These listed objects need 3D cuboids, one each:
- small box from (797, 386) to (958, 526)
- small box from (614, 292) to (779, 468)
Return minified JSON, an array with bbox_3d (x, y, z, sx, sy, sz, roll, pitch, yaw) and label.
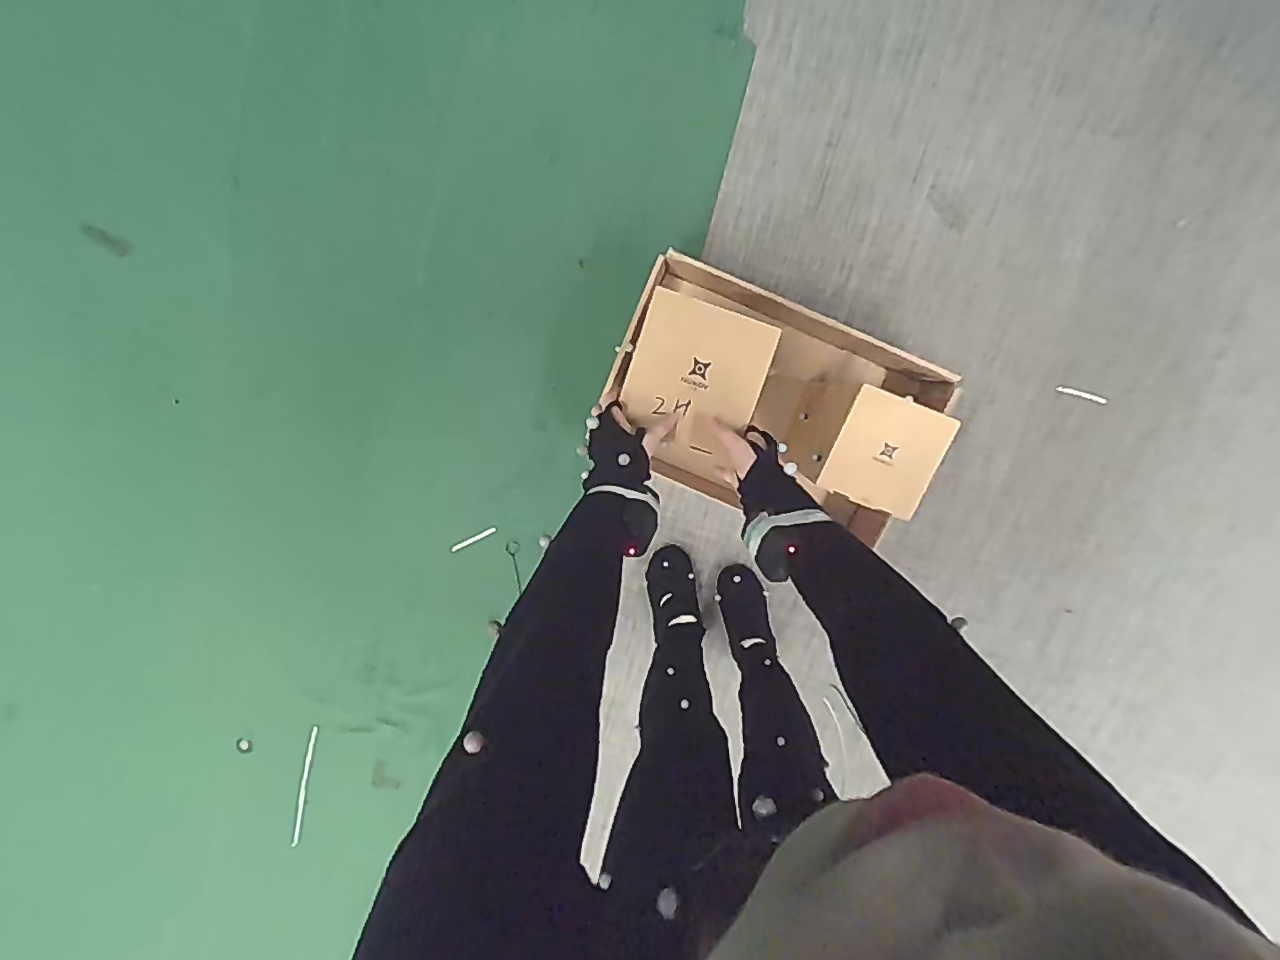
[{"bbox_3d":[0.388,-0.049,0.922,0.168,0.176,0.179,23,101,0],"label":"small box"},{"bbox_3d":[0.067,-0.131,0.745,0.168,0.176,0.179,18,96,-3],"label":"small box"}]
